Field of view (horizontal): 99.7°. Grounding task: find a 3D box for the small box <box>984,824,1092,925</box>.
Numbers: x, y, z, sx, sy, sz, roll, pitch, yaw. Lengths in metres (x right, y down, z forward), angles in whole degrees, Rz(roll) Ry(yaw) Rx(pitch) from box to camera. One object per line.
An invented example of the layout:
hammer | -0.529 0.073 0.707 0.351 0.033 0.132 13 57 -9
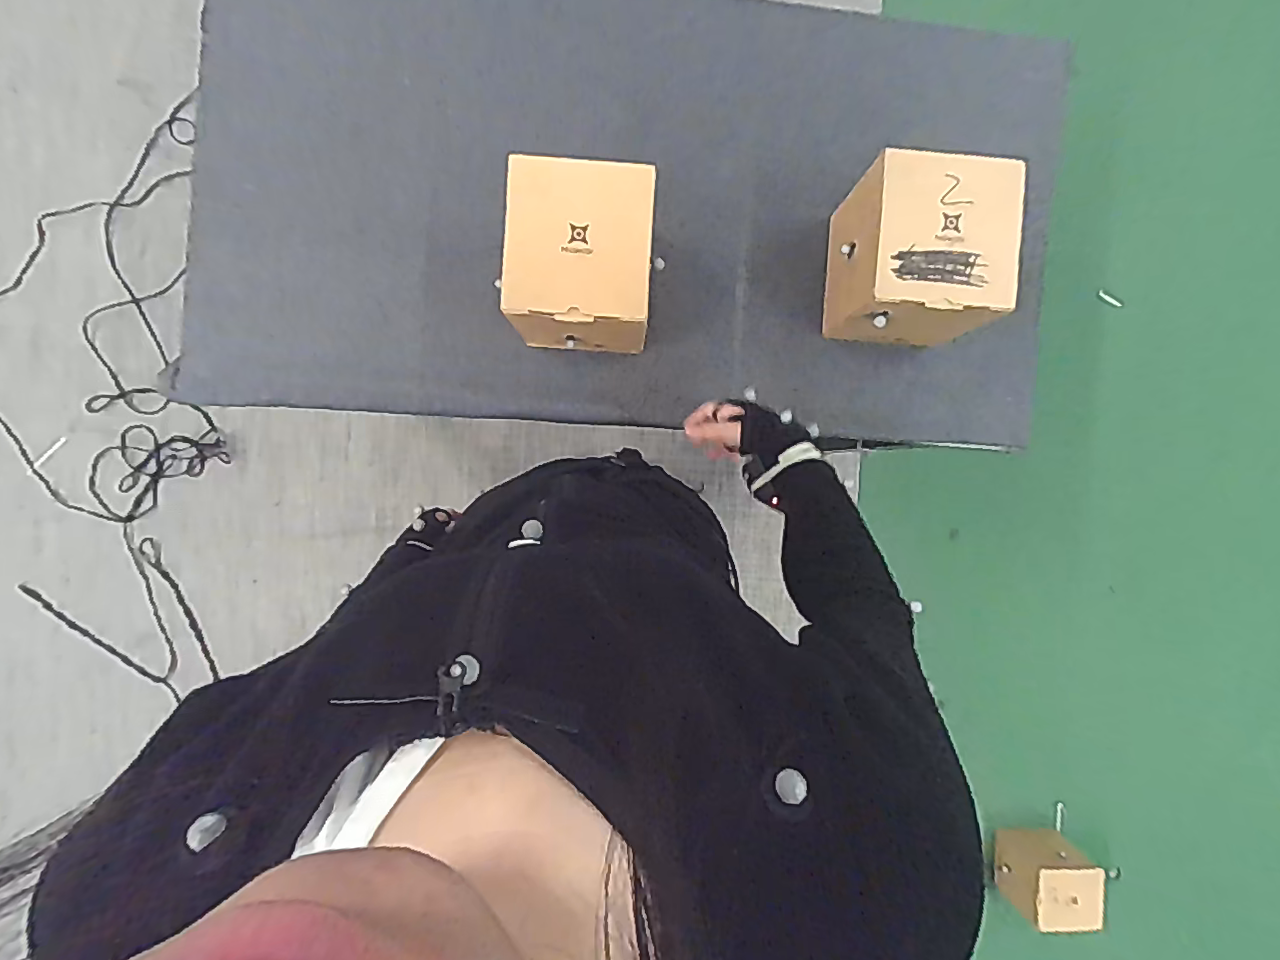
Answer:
small box | 1.098 1.085 1.500 0.179 0.176 0.168 1 91 -3

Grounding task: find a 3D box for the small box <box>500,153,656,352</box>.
small box | -0.074 -0.271 0.681 0.168 0.176 0.179 3 92 -3
